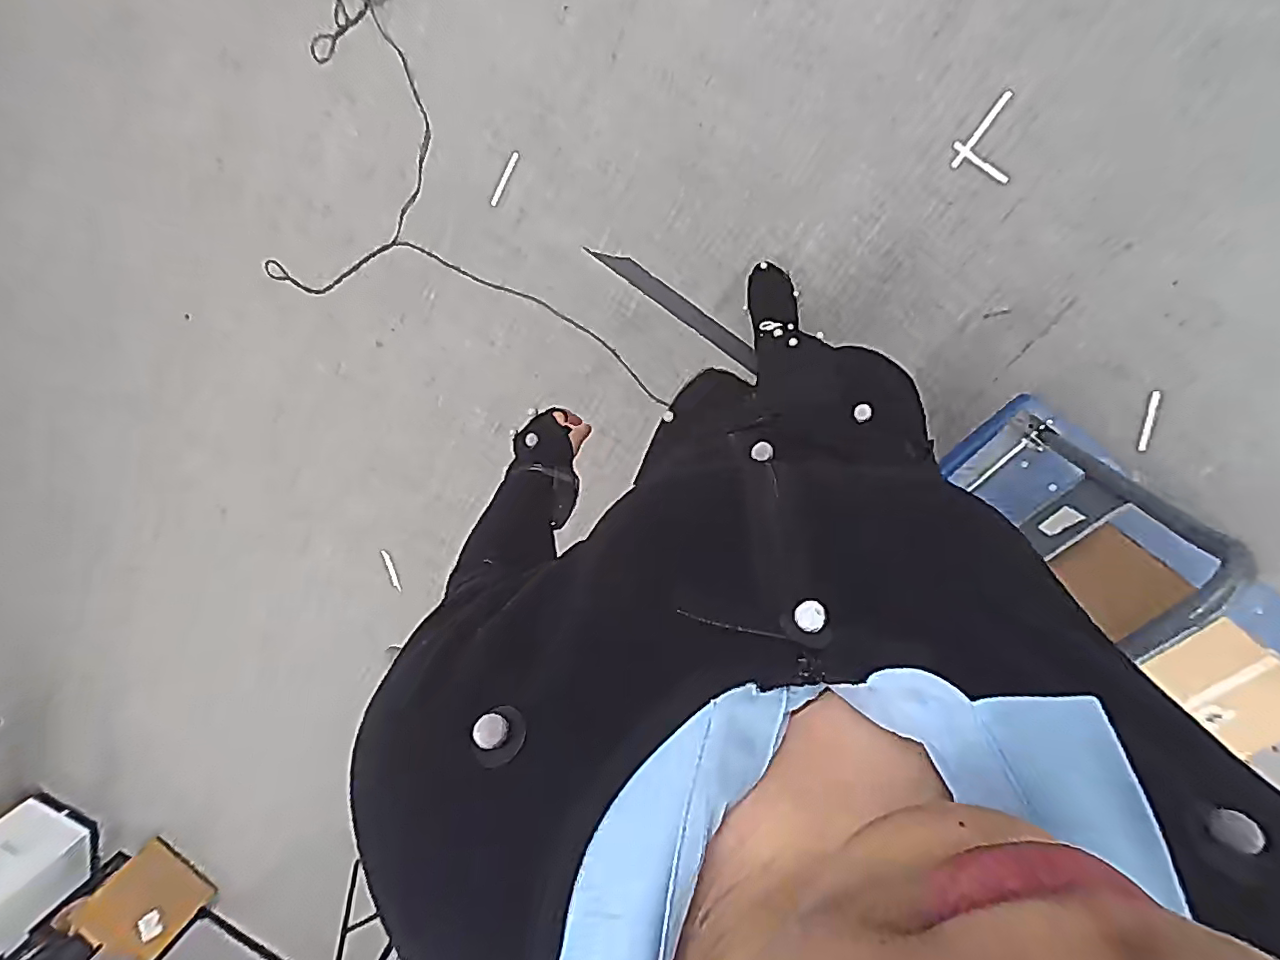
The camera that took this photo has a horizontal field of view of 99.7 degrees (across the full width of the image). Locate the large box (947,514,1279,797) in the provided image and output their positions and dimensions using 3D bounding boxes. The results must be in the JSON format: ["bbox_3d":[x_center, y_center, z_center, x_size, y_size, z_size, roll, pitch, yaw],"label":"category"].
[{"bbox_3d":[0.952,0.351,1.132,0.320,0.320,0.408,39,113,-2],"label":"large box"}]
